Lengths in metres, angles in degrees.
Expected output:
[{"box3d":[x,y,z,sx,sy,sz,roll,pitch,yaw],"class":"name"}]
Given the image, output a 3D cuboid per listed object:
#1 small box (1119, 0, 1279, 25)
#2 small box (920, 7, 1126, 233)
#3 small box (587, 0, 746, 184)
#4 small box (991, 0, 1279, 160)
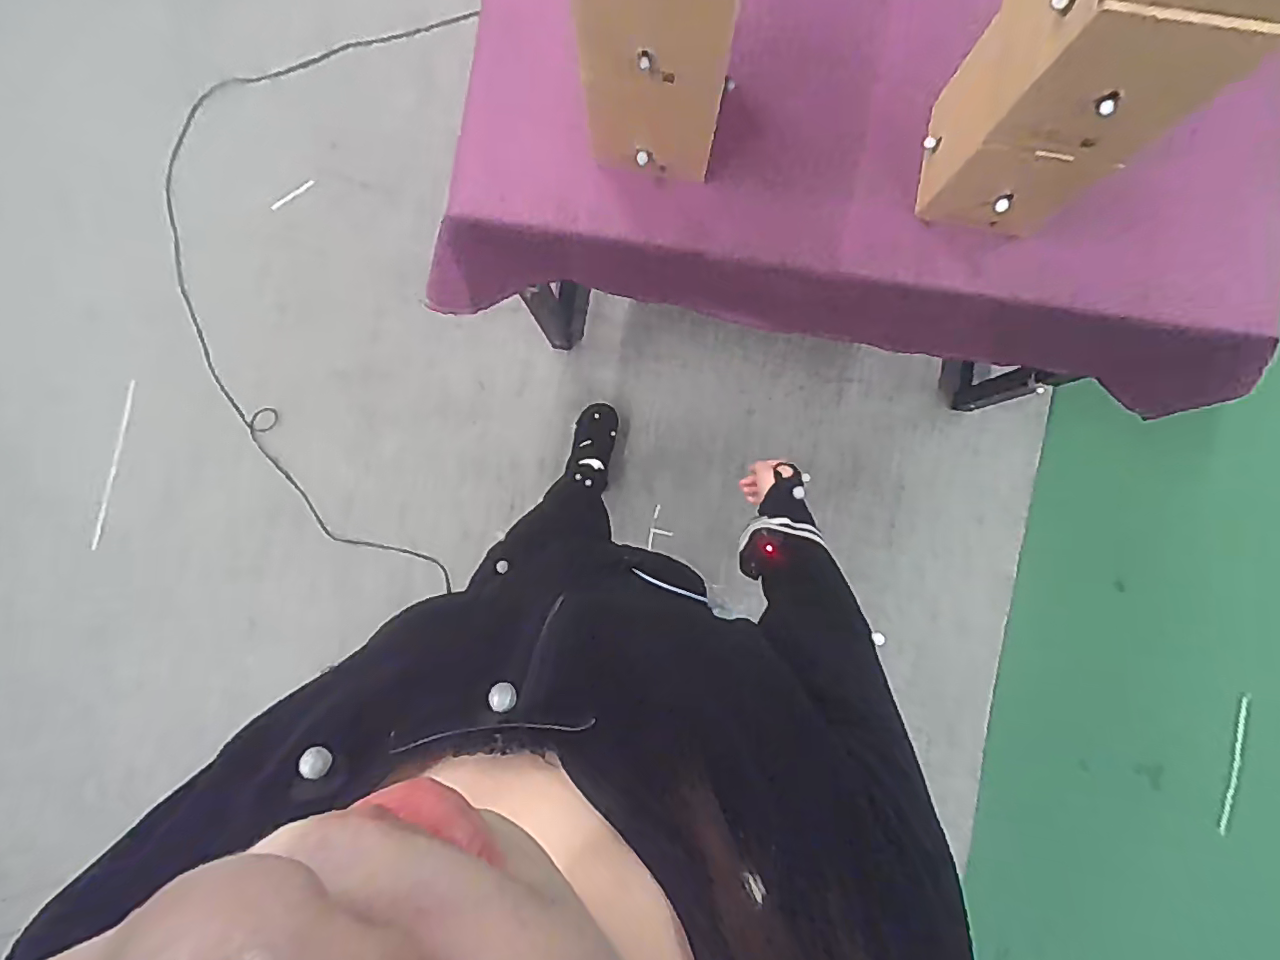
[{"box3d":[0.482,-0.470,0.375,0.179,0.176,0.168,10,87,2],"class":"small box"},{"box3d":[0.493,-0.450,0.703,0.168,0.176,0.179,11,89,1],"class":"small box"},{"box3d":[0.034,-0.533,0.711,0.168,0.176,0.179,12,89,1],"class":"small box"},{"box3d":[0.487,-0.458,0.538,0.168,0.176,0.179,10,88,1],"class":"small box"}]
